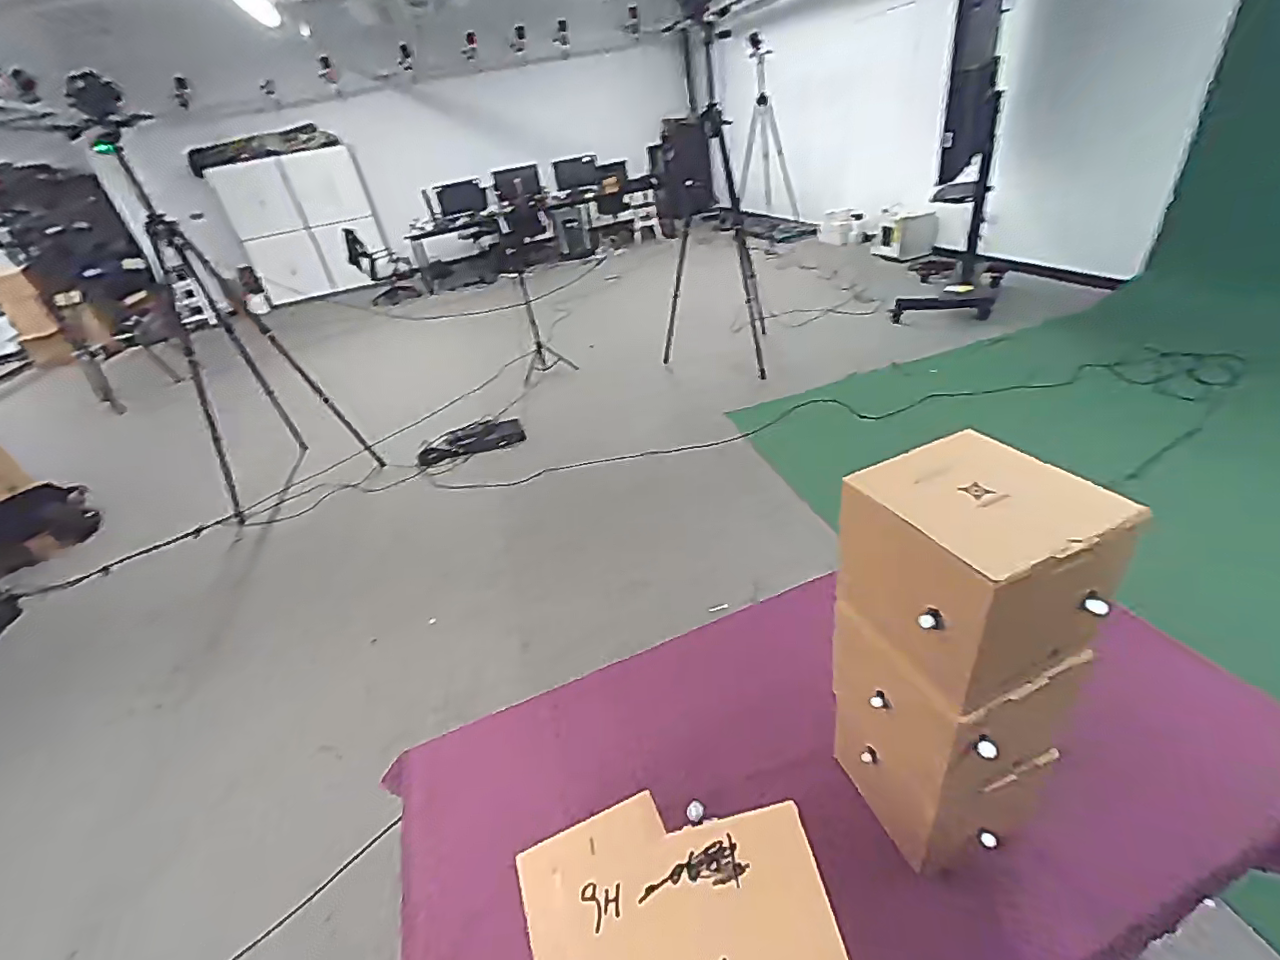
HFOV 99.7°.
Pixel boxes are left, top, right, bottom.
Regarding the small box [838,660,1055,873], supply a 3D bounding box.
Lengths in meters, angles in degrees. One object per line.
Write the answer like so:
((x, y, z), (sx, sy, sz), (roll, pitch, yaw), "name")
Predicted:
((0.374, 0.354, 0.699), (0.168, 0.176, 0.179), (-19, 34, -10), "small box")

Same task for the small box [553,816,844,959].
((0.044, 0.348, 0.367), (0.168, 0.176, 0.179), (-11, 56, -7), "small box")

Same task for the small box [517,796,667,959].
((-0.020, 0.504, 0.596), (0.168, 0.176, 0.179), (-20, 33, -13), "small box")

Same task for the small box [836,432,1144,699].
((0.314, 0.082, 0.526), (0.168, 0.176, 0.179), (-20, 33, -13), "small box")
